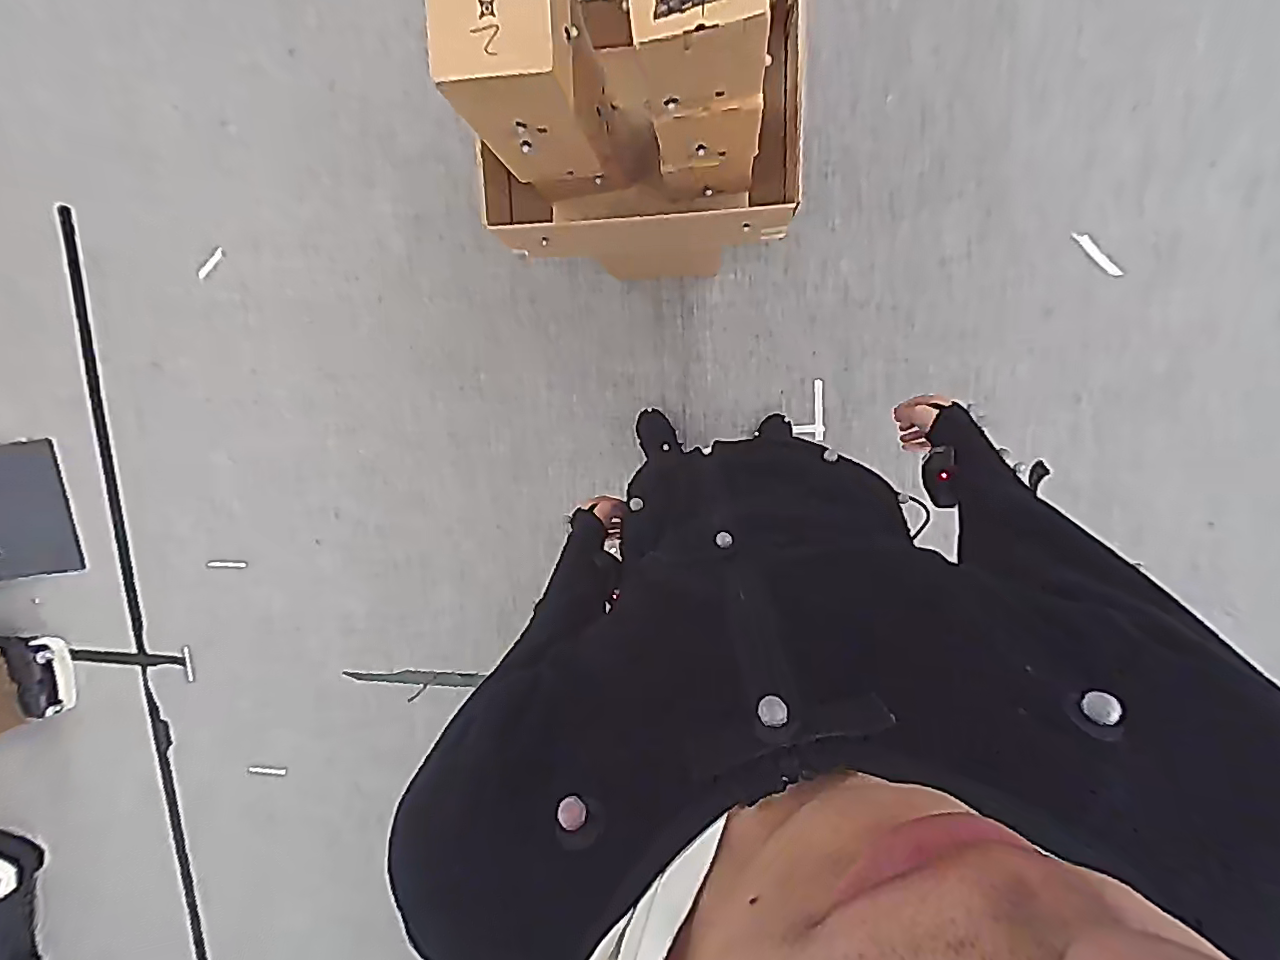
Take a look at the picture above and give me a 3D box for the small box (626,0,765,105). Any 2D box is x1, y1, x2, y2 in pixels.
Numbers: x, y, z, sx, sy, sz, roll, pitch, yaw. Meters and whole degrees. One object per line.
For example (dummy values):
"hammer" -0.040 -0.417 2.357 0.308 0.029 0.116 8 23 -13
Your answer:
"small box" 0.071 -0.630 0.710 0.168 0.176 0.179 -6 97 9

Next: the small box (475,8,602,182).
"small box" -0.162 -0.634 0.911 0.168 0.176 0.179 0 97 9

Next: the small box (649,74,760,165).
"small box" 0.102 -0.643 0.872 0.168 0.176 0.179 -3 99 9
